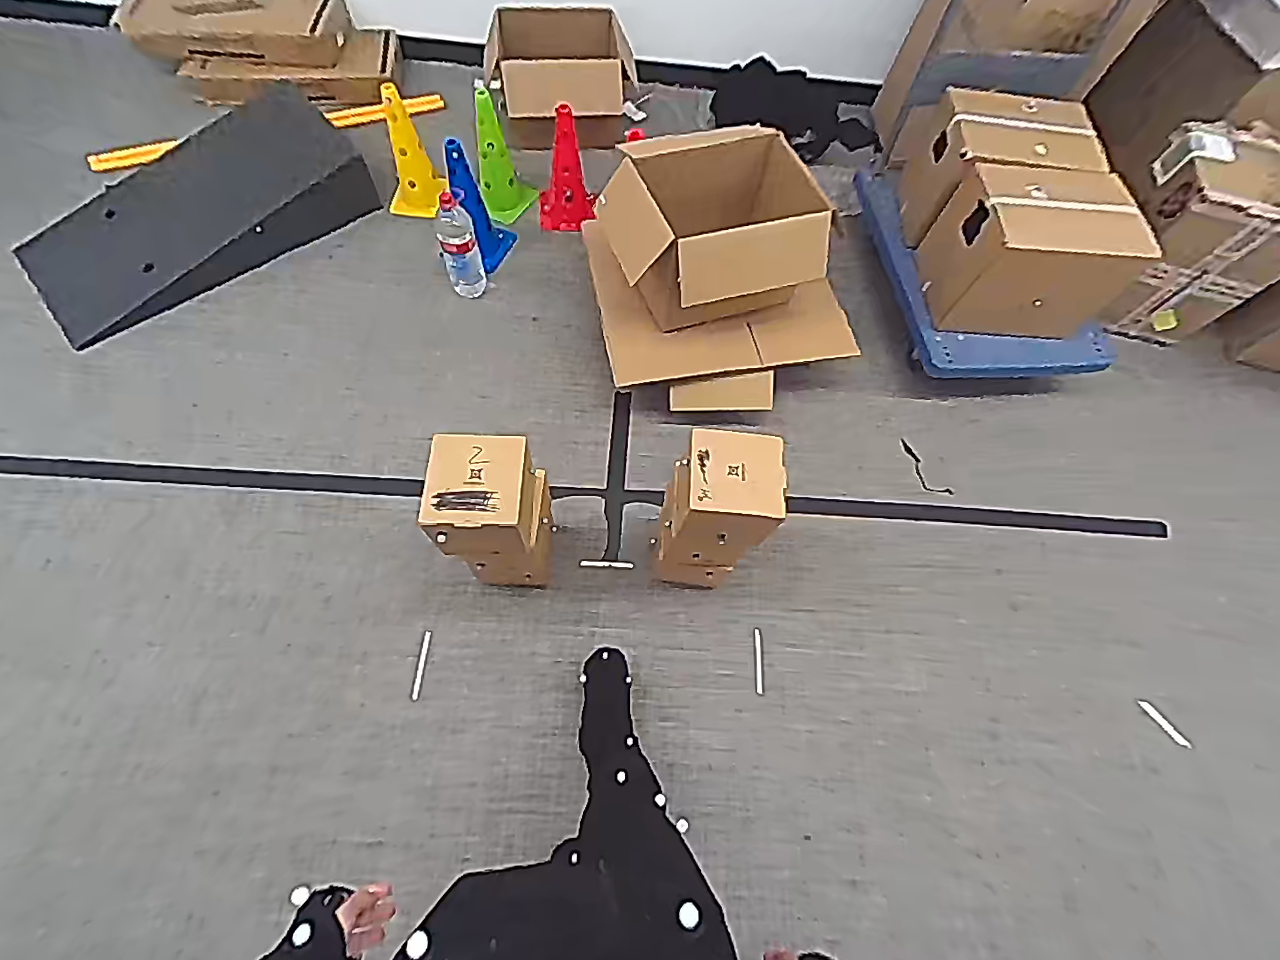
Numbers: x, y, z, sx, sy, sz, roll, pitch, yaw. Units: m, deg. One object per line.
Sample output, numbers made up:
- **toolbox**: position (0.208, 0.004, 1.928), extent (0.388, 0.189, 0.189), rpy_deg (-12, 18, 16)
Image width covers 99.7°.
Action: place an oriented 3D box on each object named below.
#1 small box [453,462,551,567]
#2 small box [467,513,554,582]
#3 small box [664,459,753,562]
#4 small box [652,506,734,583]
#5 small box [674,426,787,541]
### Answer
- **small box**: position (-0.285, 0.080, 1.160), extent (0.168, 0.176, 0.179), rpy_deg (4, 64, -3)
- **small box**: position (-0.304, 0.147, 1.309), extent (0.179, 0.176, 0.168), rpy_deg (1, 65, -3)
- **small box**: position (0.146, 0.072, 1.202), extent (0.168, 0.176, 0.179), rpy_deg (5, 66, -4)
- **small box**: position (0.132, 0.151, 1.344), extent (0.179, 0.176, 0.168), rpy_deg (8, 65, -2)
- **small box**: position (0.171, 0.014, 1.050), extent (0.179, 0.176, 0.168), rpy_deg (7, 66, -4)
